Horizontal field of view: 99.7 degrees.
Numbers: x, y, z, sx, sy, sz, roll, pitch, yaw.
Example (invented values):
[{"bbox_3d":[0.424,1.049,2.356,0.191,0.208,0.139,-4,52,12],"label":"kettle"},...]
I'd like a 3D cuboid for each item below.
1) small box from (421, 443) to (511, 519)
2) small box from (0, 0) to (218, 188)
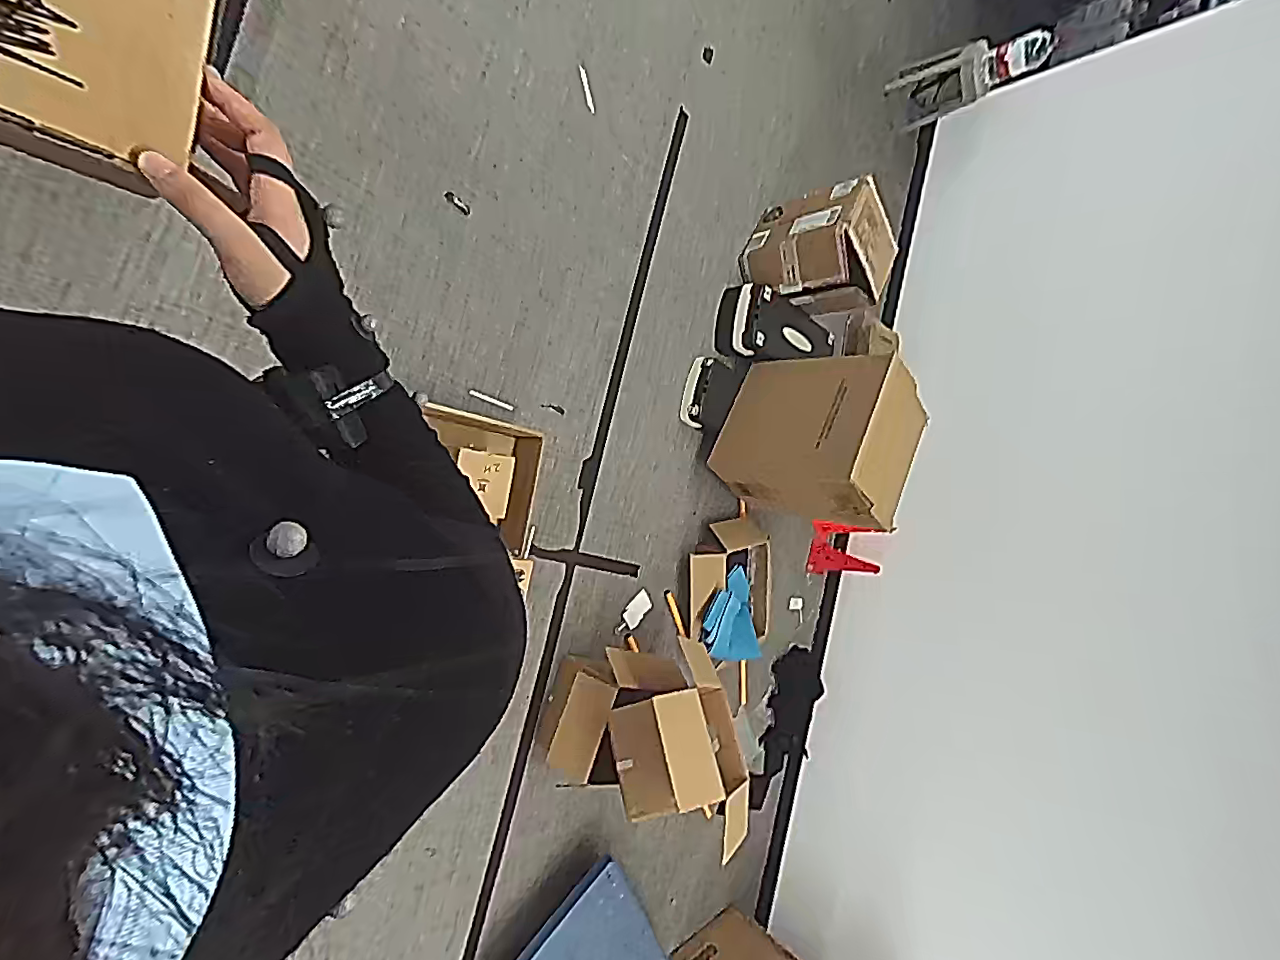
[{"bbox_3d":[-0.482,0.001,1.483,0.168,0.176,0.179,11,89,-45],"label":"small box"},{"bbox_3d":[-0.351,-0.286,0.298,0.168,0.176,0.179,8,100,-49],"label":"small box"}]
